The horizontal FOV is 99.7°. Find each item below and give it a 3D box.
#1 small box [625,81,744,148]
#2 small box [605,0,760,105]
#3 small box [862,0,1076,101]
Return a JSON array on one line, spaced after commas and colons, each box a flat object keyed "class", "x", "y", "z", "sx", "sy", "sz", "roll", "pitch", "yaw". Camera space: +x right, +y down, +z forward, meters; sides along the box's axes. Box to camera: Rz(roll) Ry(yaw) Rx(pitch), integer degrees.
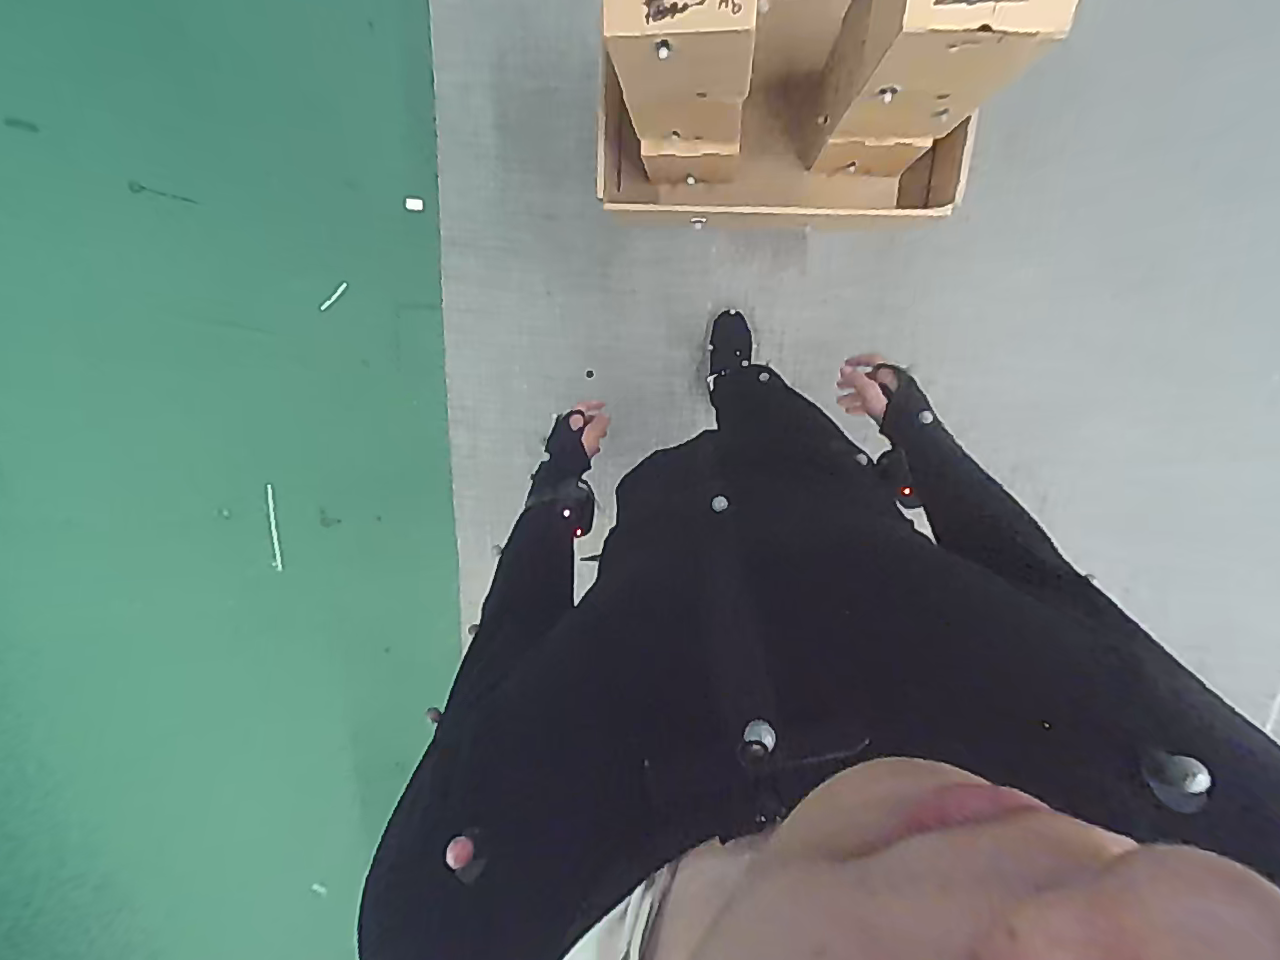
[{"class": "small box", "x": 0.077, "y": -0.619, "z": 0.793, "sx": 0.168, "sy": 0.176, "sz": 0.179, "roll": 7, "pitch": 105, "yaw": 6}, {"class": "small box", "x": 0.056, "y": -0.578, "z": 0.636, "sx": 0.168, "sy": 0.176, "sz": 0.179, "roll": 3, "pitch": 103, "yaw": 7}, {"class": "small box", "x": 0.363, "y": -0.554, "z": 0.601, "sx": 0.168, "sy": 0.176, "sz": 0.179, "roll": 6, "pitch": 104, "yaw": 4}]
